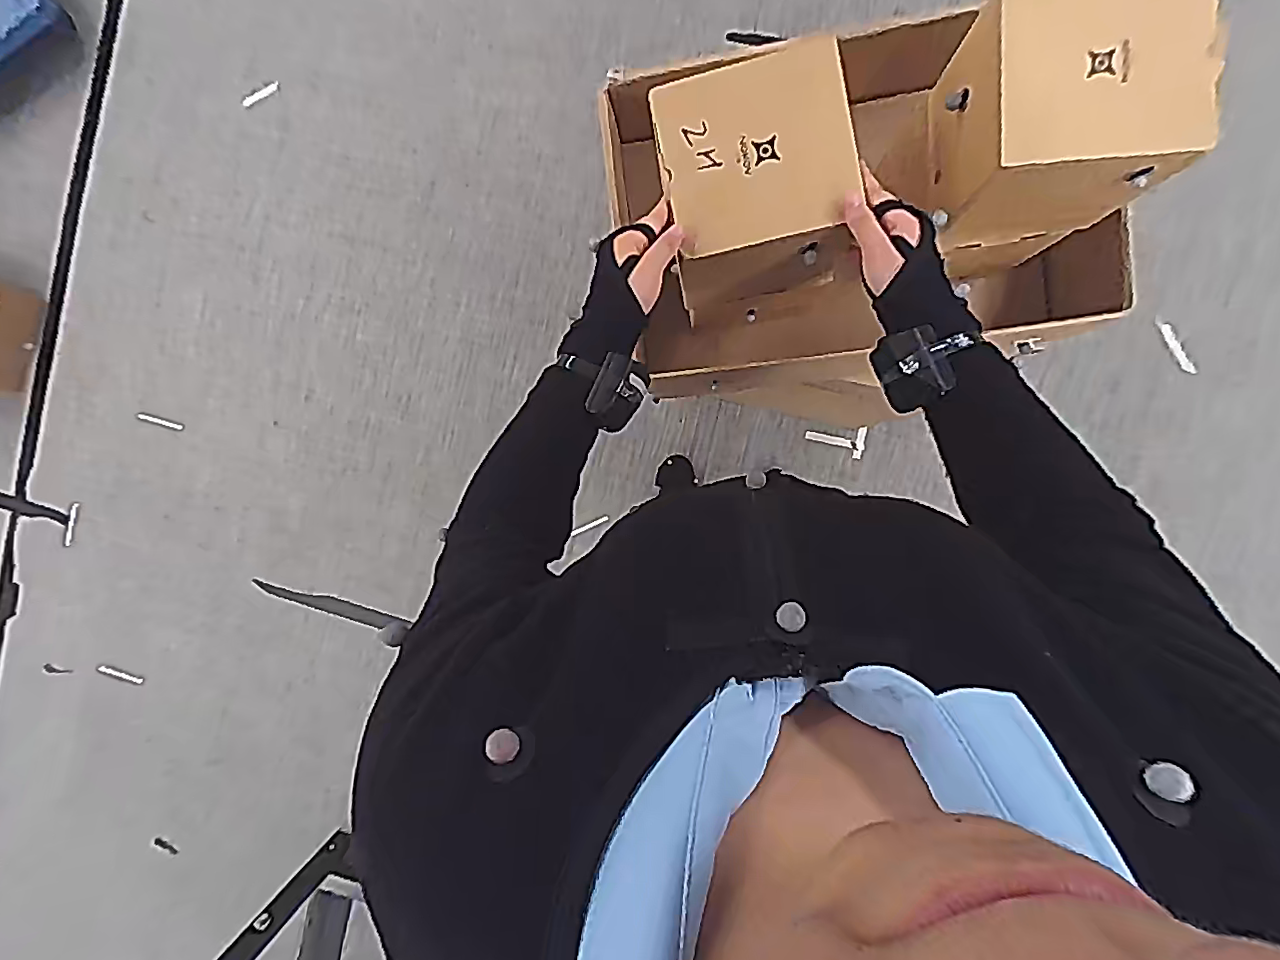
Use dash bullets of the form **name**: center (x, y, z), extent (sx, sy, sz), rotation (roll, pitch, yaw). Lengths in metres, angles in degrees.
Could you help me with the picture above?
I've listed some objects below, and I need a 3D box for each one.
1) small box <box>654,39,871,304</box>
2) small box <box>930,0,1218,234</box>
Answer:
- **small box**: center (0.120, -0.303, 0.573), extent (0.179, 0.176, 0.168), rotation (-10, 91, 8)
- **small box**: center (0.414, -0.366, 0.548), extent (0.179, 0.176, 0.168), rotation (-2, 93, 7)
